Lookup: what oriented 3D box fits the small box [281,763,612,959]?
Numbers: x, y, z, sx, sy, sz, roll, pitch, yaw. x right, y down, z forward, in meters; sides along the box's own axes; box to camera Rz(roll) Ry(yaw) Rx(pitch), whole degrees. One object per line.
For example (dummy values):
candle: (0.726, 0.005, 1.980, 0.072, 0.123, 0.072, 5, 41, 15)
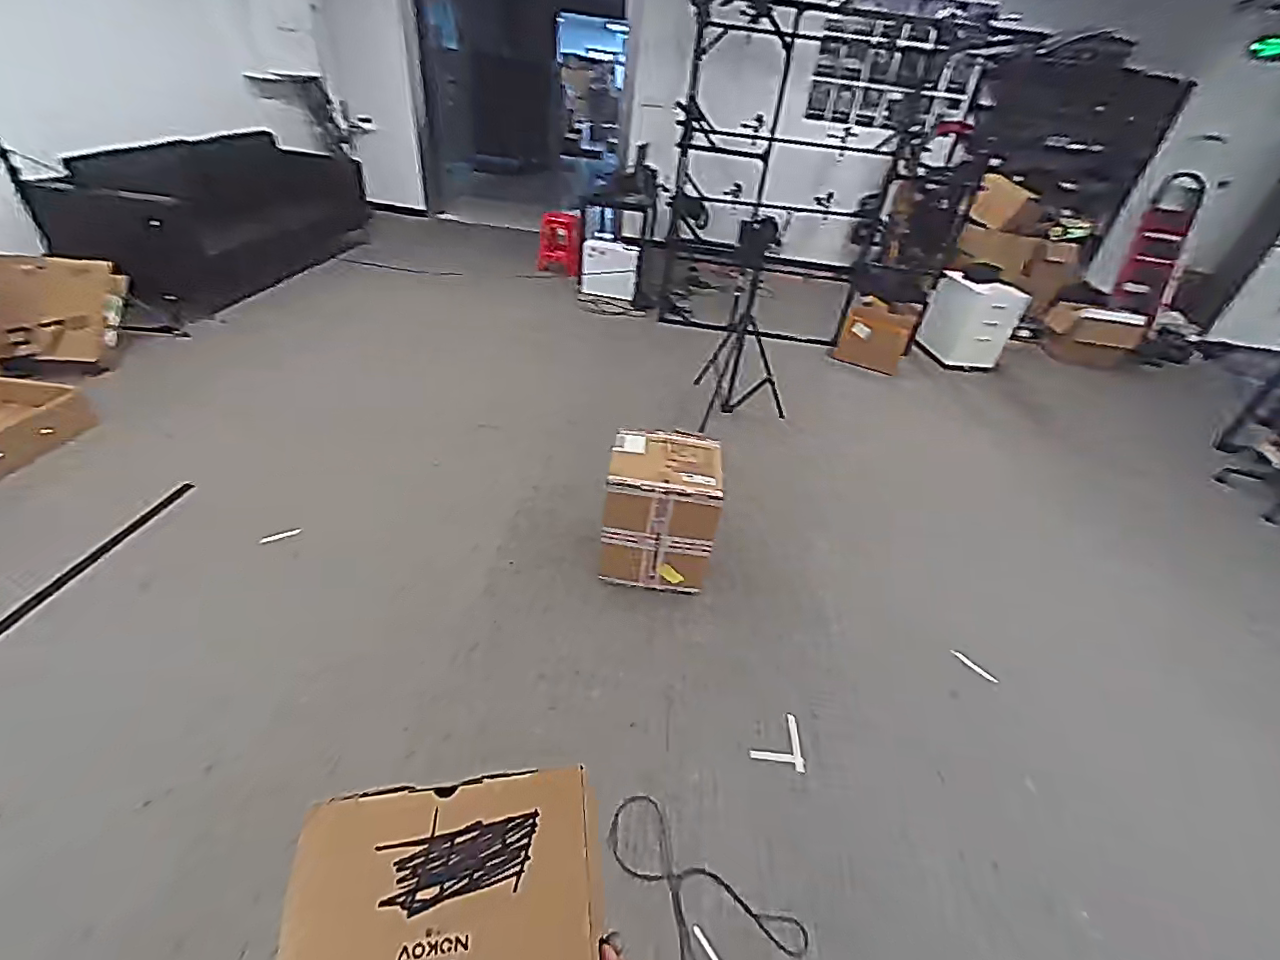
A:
small box: (-0.104, 0.298, 0.342, 0.168, 0.176, 0.179, -5, 55, -5)
